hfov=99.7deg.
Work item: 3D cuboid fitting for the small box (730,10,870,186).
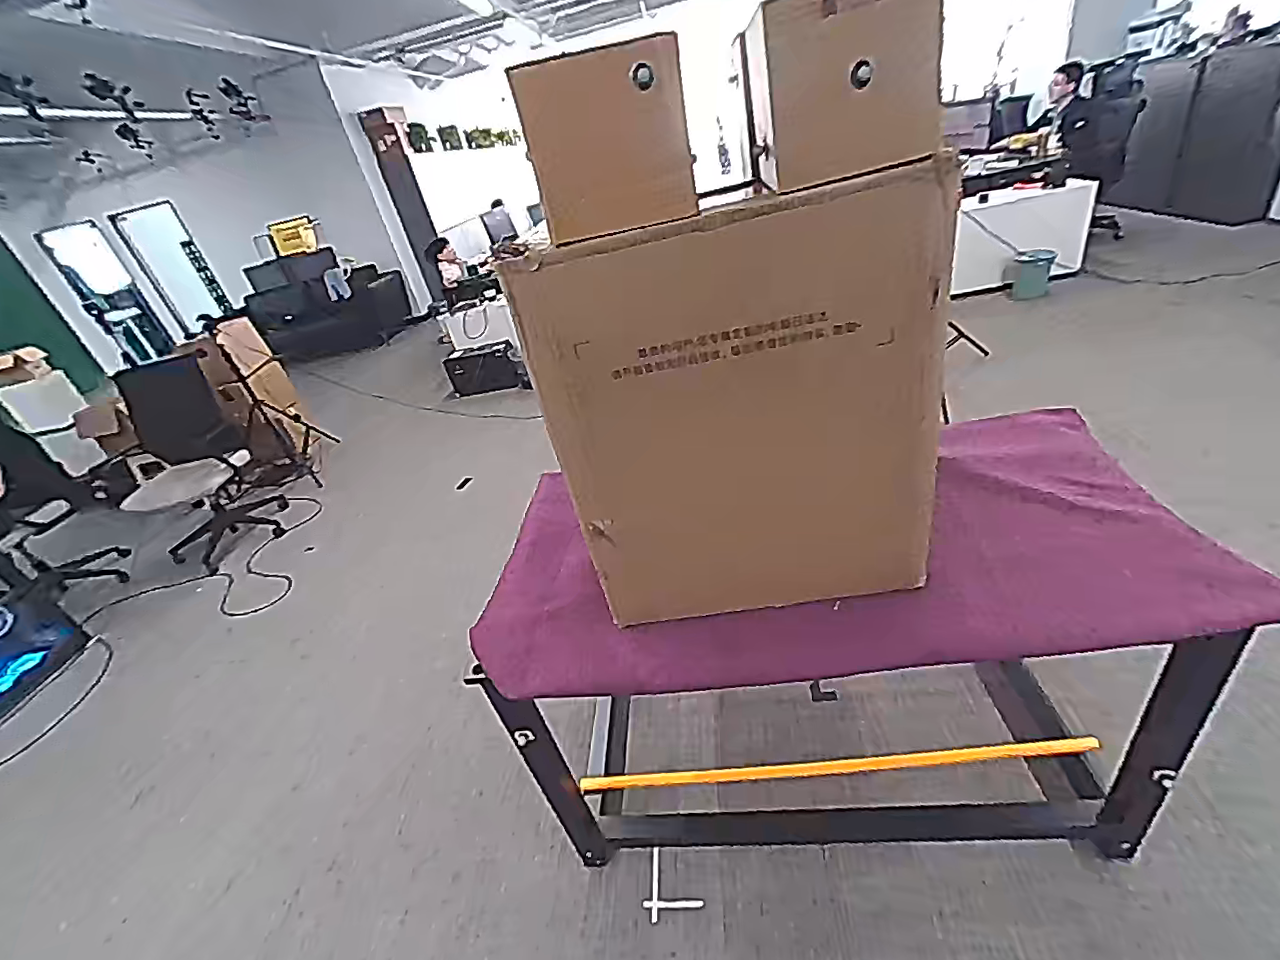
[{"bbox_3d":[0.226,-0.540,0.787,0.168,0.176,0.179,-9,32,10],"label":"small box"}]
